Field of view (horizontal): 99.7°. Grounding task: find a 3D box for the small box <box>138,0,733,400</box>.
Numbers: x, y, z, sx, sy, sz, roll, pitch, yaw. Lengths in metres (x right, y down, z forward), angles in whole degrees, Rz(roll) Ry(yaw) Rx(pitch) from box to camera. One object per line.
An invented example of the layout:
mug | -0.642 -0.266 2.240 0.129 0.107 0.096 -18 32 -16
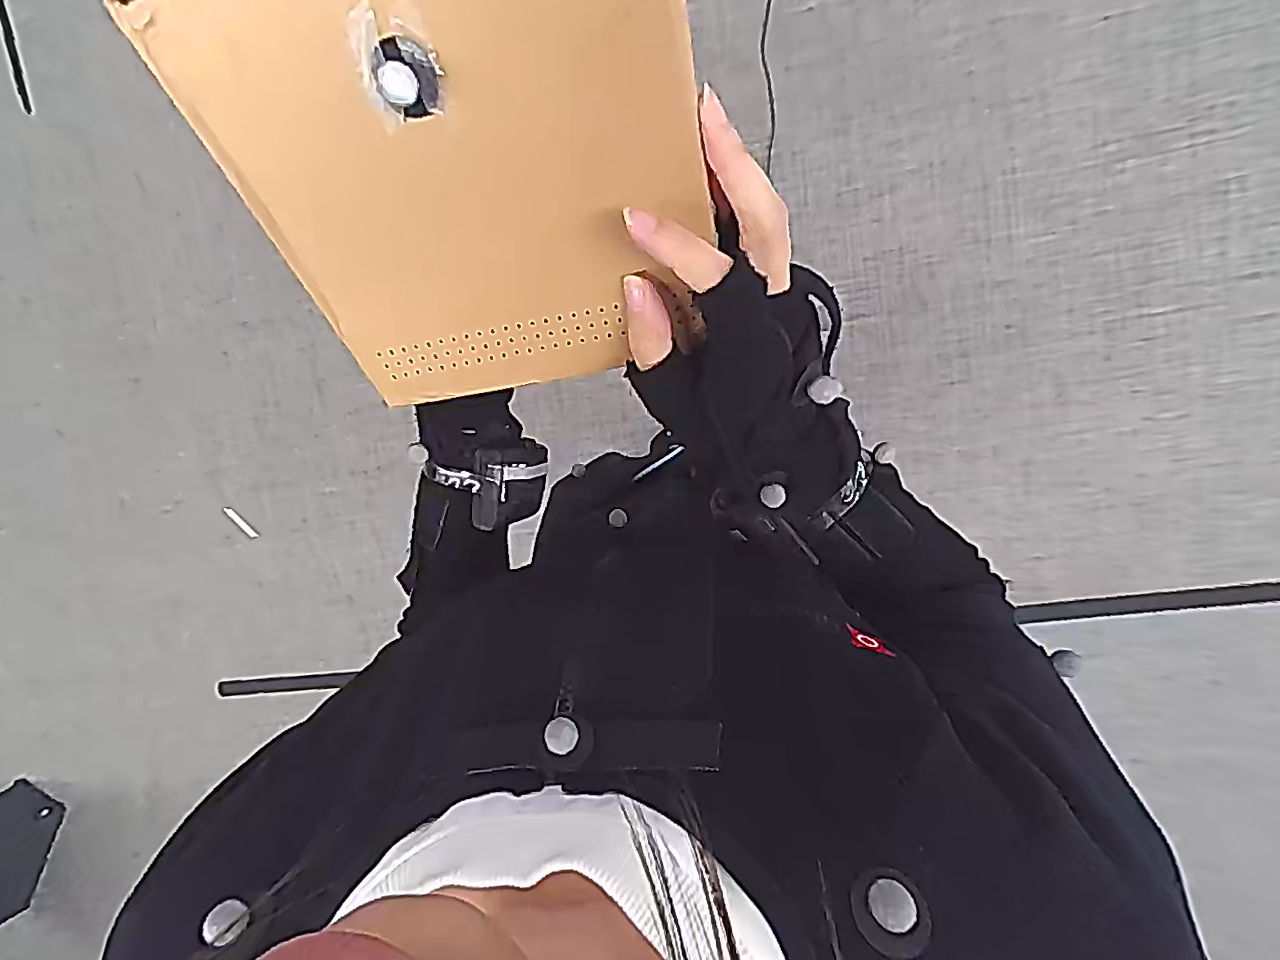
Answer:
small box | -0.056 -0.157 0.265 0.179 0.168 0.176 -7 136 11
